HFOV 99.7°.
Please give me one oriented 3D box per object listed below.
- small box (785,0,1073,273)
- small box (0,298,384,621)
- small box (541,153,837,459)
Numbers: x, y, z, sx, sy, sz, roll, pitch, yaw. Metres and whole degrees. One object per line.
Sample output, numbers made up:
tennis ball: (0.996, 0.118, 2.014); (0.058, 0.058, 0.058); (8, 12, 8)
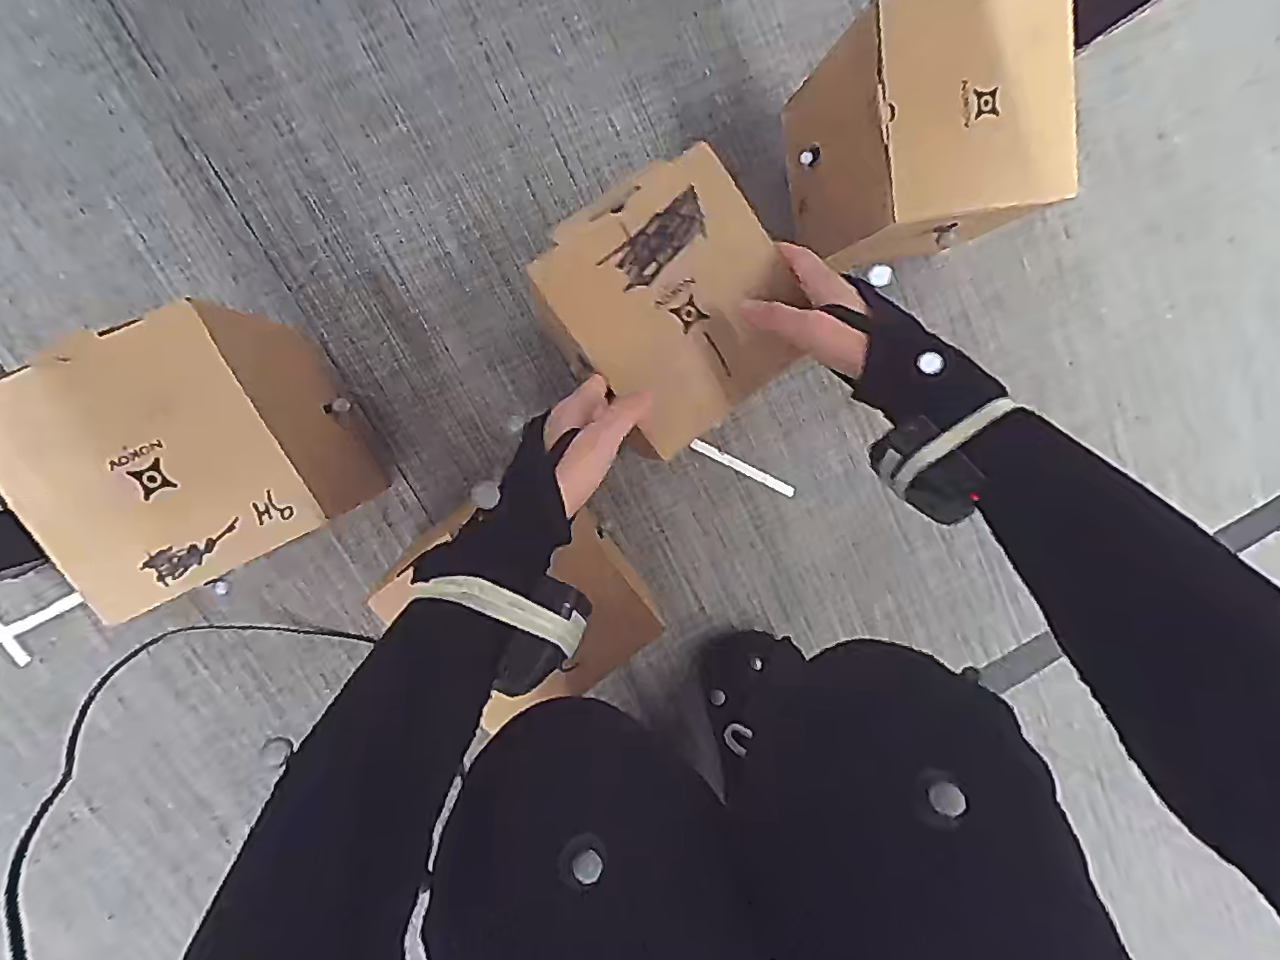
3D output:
small box: (0.260, -0.308, 0.514); (0.179, 0.176, 0.168); (-11, 99, -8)
small box: (-0.345, -0.019, 0.444); (0.168, 0.176, 0.179); (-26, 100, -7)
small box: (0.030, -0.132, 0.482); (0.168, 0.176, 0.179); (-35, 97, -4)
